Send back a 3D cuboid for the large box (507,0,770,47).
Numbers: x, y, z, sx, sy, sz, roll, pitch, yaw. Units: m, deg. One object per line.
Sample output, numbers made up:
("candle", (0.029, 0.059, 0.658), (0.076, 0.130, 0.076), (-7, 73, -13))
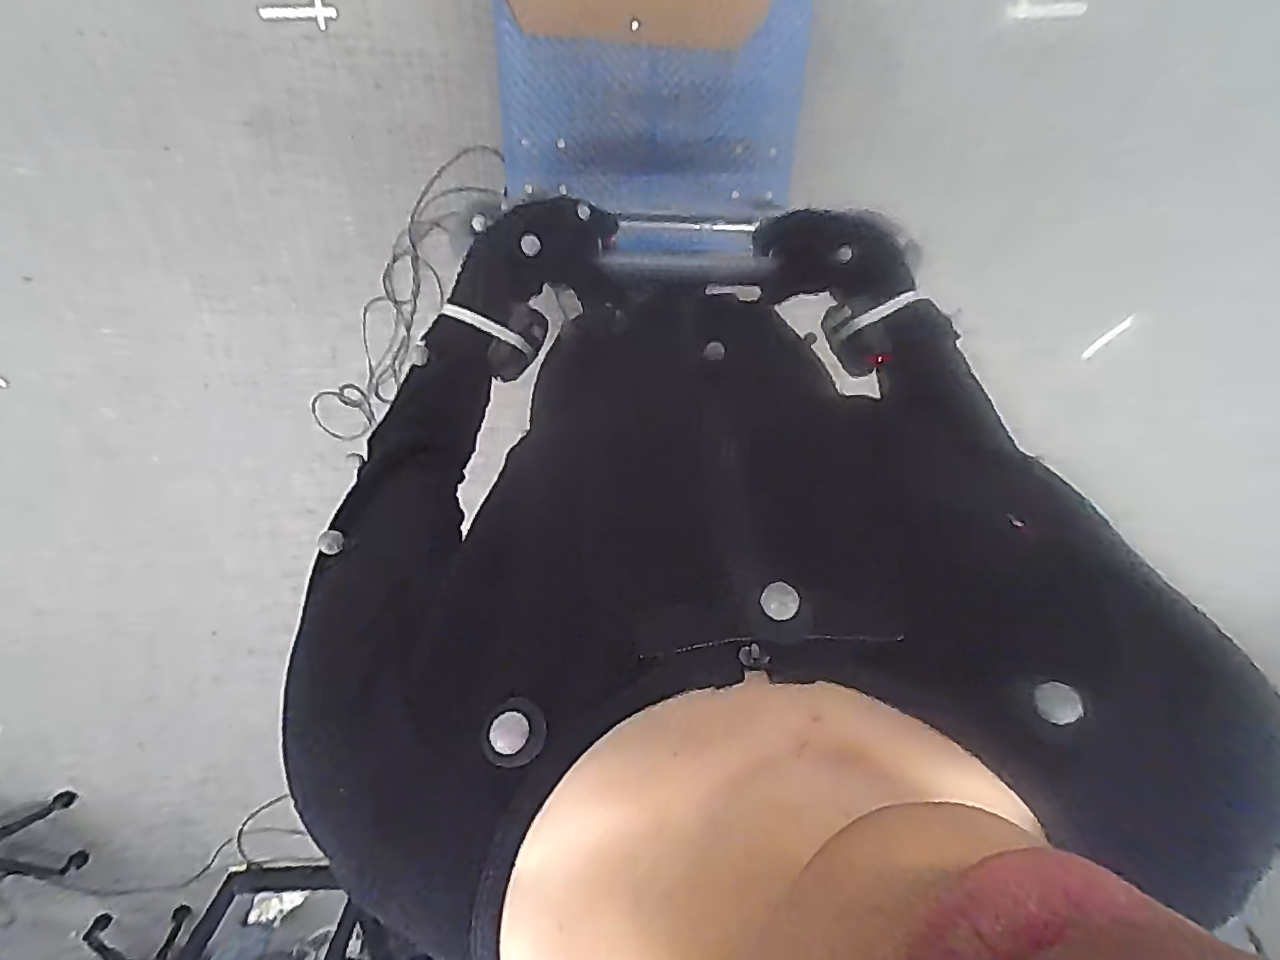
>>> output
("large box", (-0.002, -0.885, 0.808), (0.408, 0.320, 0.320), (2, 114, -3))
